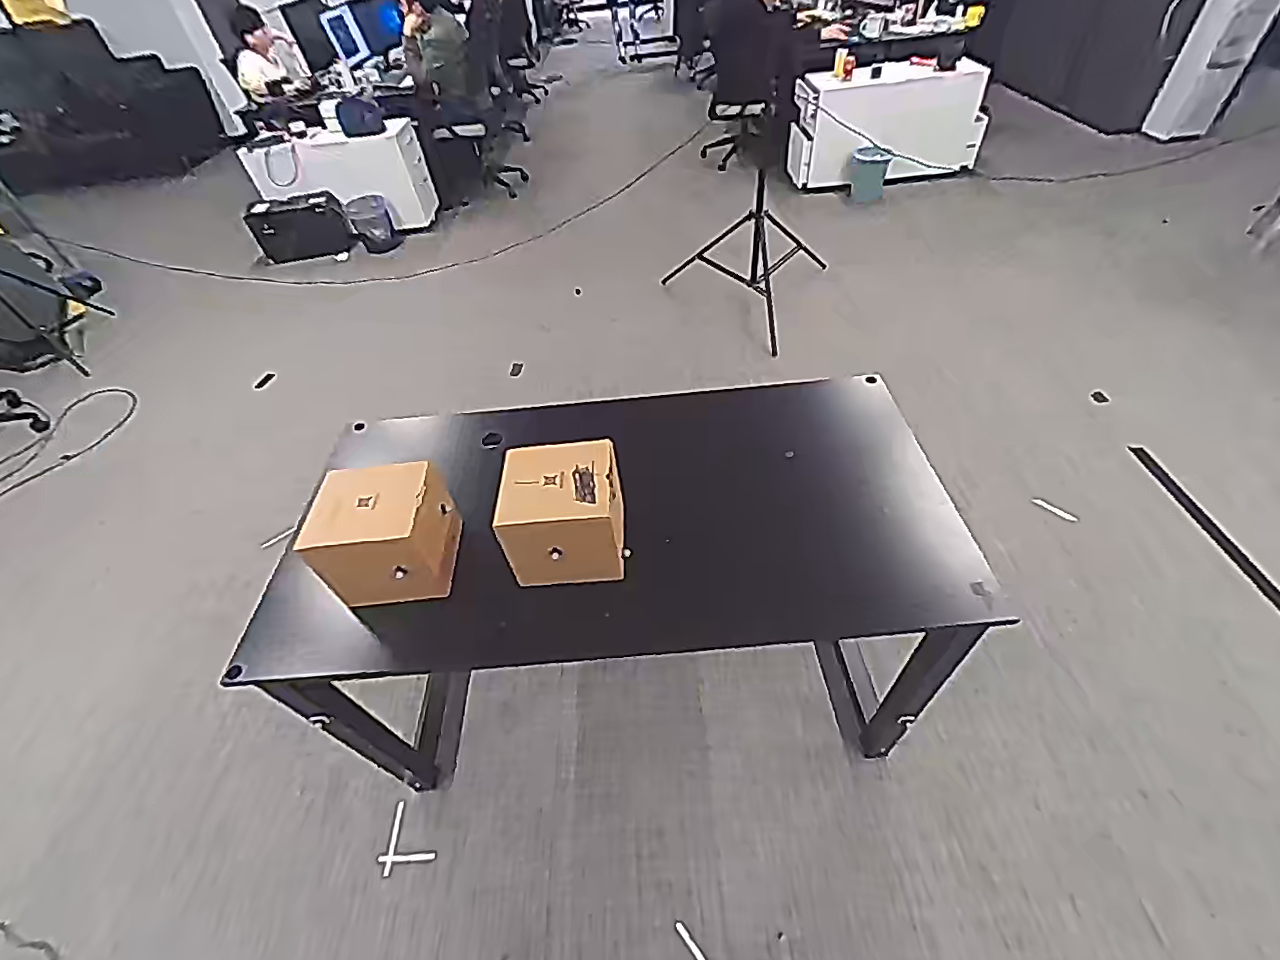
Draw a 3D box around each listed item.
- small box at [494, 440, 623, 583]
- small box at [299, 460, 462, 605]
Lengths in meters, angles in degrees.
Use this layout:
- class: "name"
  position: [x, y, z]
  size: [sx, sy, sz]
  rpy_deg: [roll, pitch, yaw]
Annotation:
- class: "small box"
  position: [-0.122, 0.056, 0.899]
  size: [0.179, 0.176, 0.168]
  rpy_deg: [-5, 47, 3]
- class: "small box"
  position: [-0.415, 0.091, 0.905]
  size: [0.179, 0.176, 0.168]
  rpy_deg: [-7, 46, 1]
